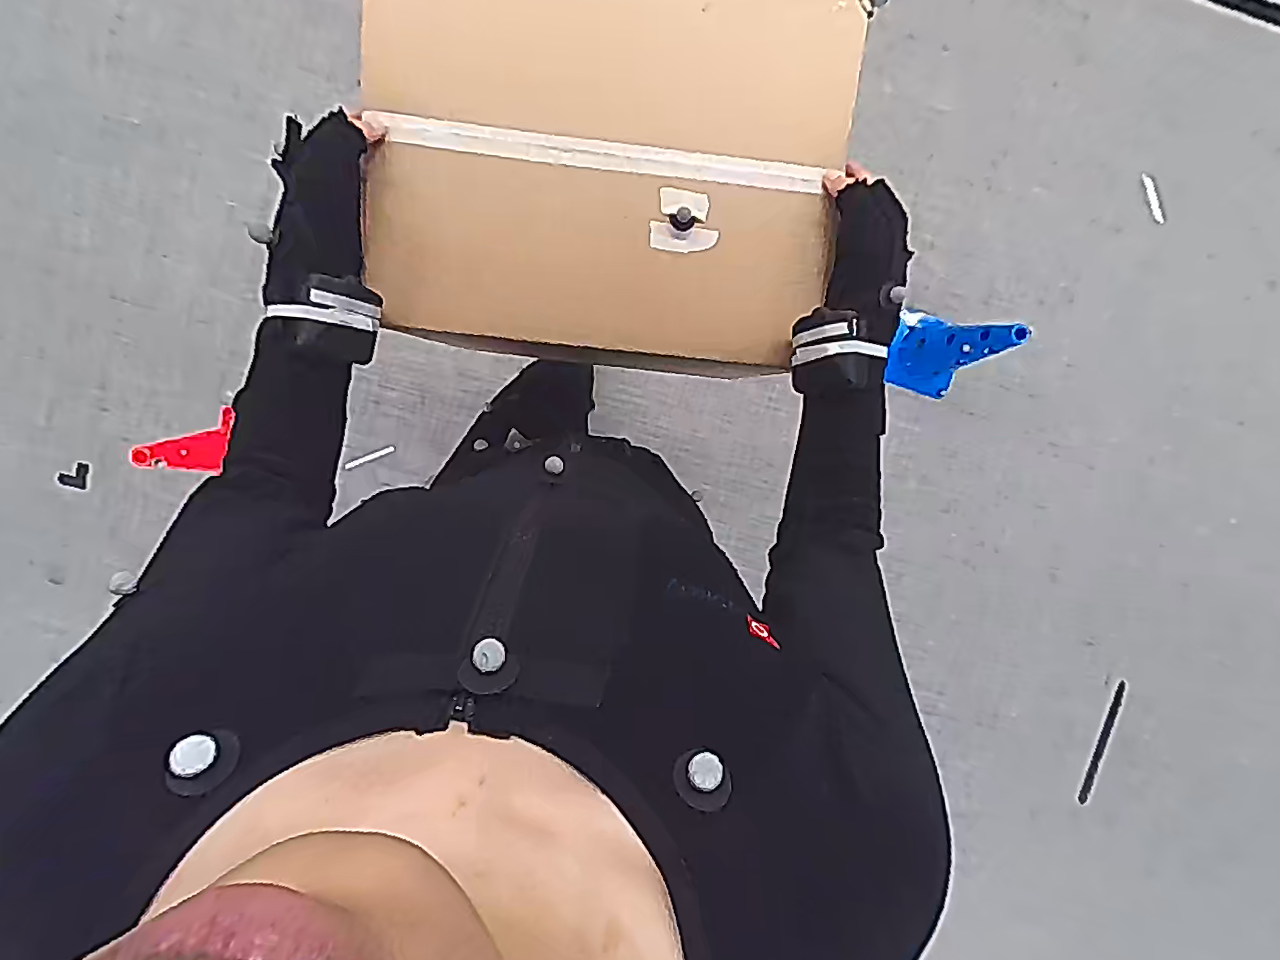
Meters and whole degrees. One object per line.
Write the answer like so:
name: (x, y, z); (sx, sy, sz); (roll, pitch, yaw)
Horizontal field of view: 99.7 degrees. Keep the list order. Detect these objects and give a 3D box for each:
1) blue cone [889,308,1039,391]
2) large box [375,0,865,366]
blue cone: (0.785, -0.332, 1.295); (0.192, 0.380, 0.193); (18, 96, -5)
large box: (-0.031, -0.307, 0.606); (0.408, 0.320, 0.320); (5, 100, -4)
